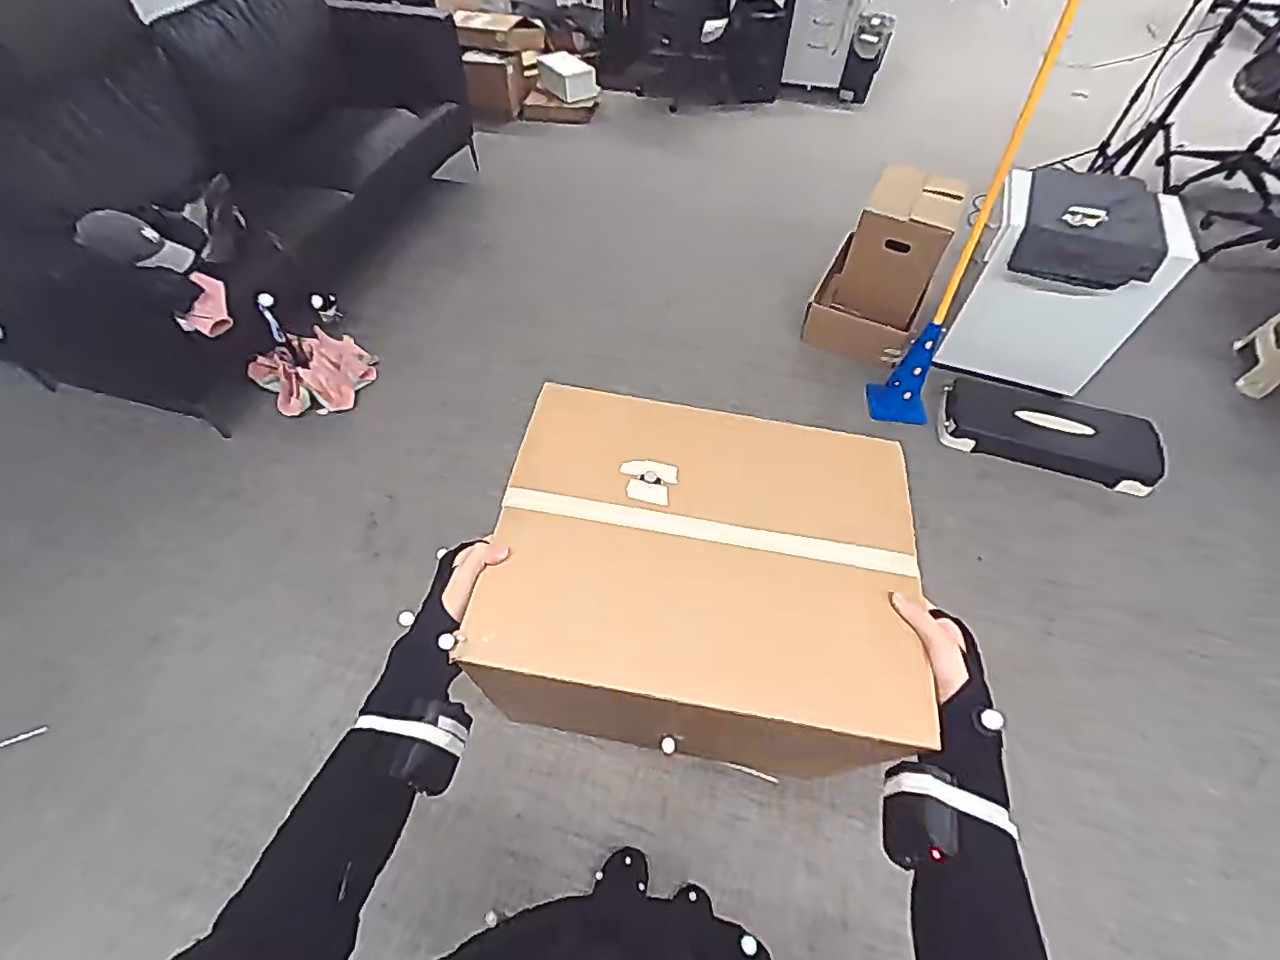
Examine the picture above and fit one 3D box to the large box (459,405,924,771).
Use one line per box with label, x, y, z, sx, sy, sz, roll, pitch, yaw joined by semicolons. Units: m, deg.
large box;0.057;0.146;0.658;0.408;0.320;0.320;9;57;3
